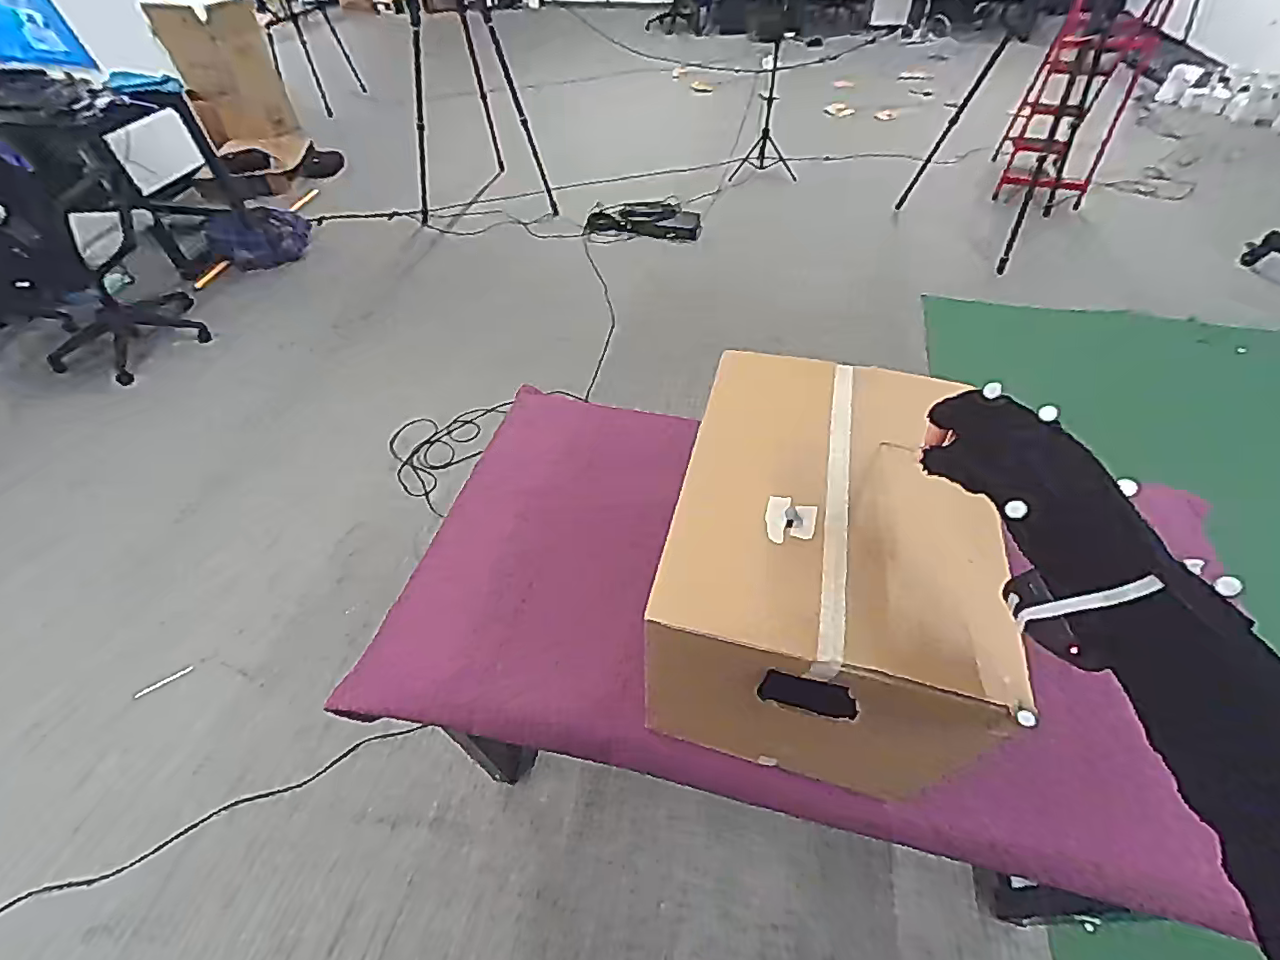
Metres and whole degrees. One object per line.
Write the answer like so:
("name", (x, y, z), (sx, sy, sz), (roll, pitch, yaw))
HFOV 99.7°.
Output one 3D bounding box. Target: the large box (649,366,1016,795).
("large box", (0.207, 0.116, 0.695), (0.320, 0.320, 0.408), (11, 51, 11))
